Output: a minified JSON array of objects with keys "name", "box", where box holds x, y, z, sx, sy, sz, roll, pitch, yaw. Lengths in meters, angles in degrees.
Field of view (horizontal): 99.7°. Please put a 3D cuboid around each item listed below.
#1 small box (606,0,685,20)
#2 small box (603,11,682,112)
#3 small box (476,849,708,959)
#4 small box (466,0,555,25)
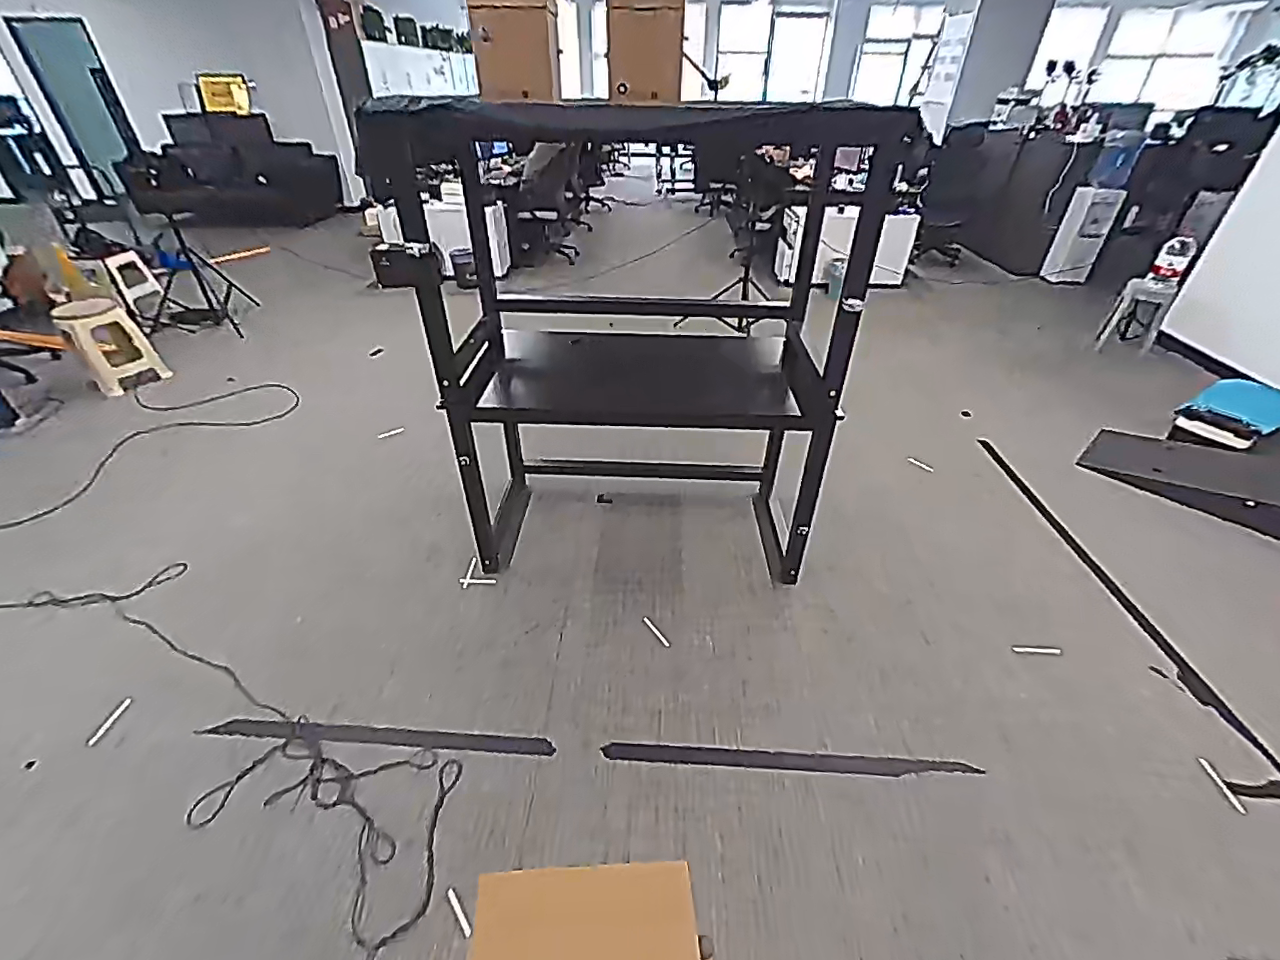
[{"name":"small box","box":[0.013,-1.075,1.132,0.168,0.176,0.179,1,36,3]},{"name":"small box","box":[0.010,-0.940,1.223,0.168,0.176,0.179,2,34,2]},{"name":"small box","box":[-0.036,0.413,0.402,0.168,0.176,0.179,0,32,-5]},{"name":"small box","box":[-0.275,-1.077,1.133,0.168,0.176,0.179,1,34,1]}]
